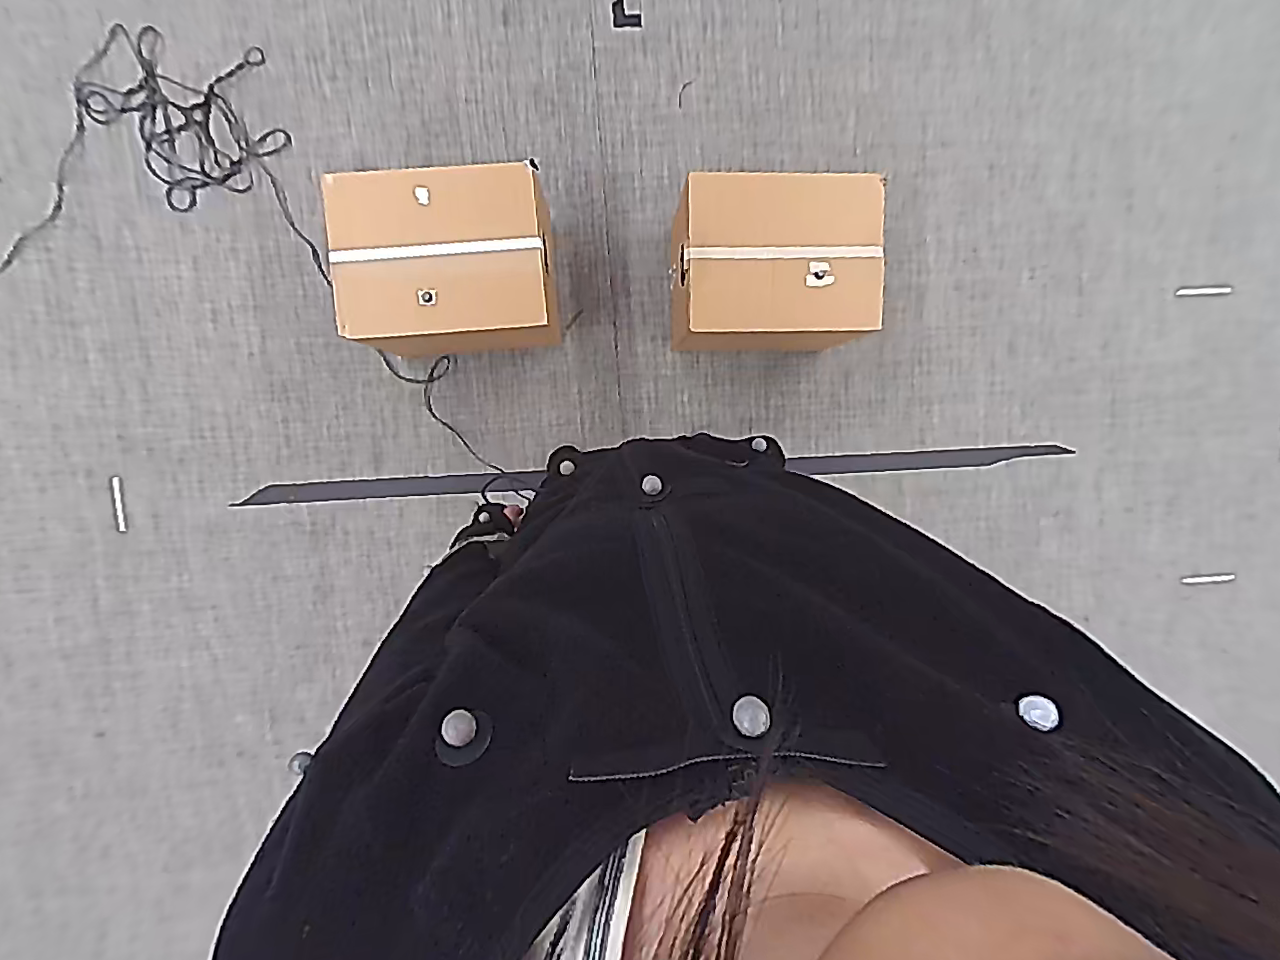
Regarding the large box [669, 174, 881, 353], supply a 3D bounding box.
[{"bbox_3d":[0.287,-0.477,1.254,0.408,0.320,0.320,-1,96,-4],"label":"large box"}]
